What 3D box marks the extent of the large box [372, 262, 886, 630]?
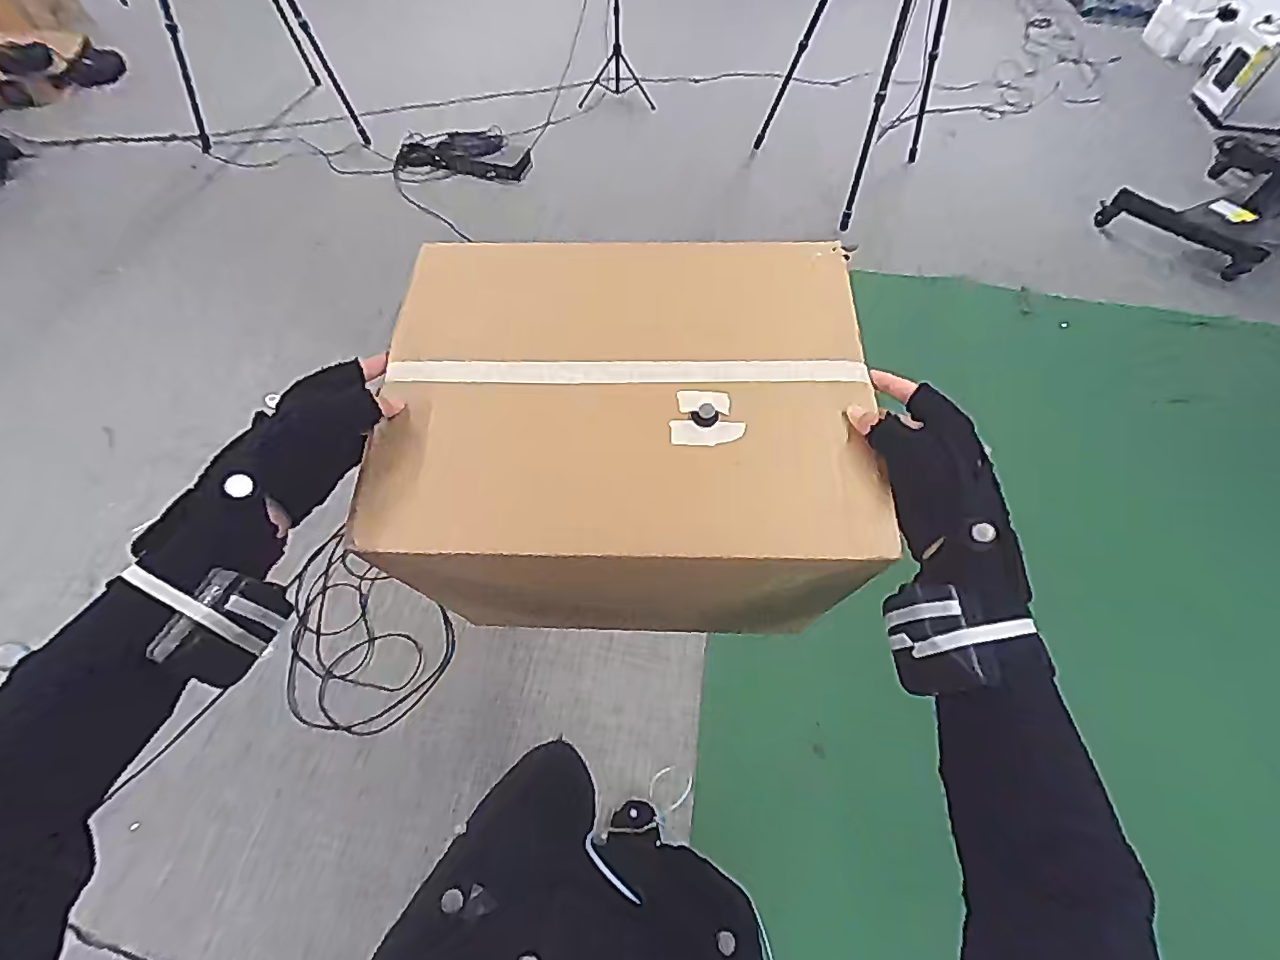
[{"bbox_3d":[-0.008,-0.017,0.610,0.408,0.320,0.320,1,64,1],"label":"large box"}]
